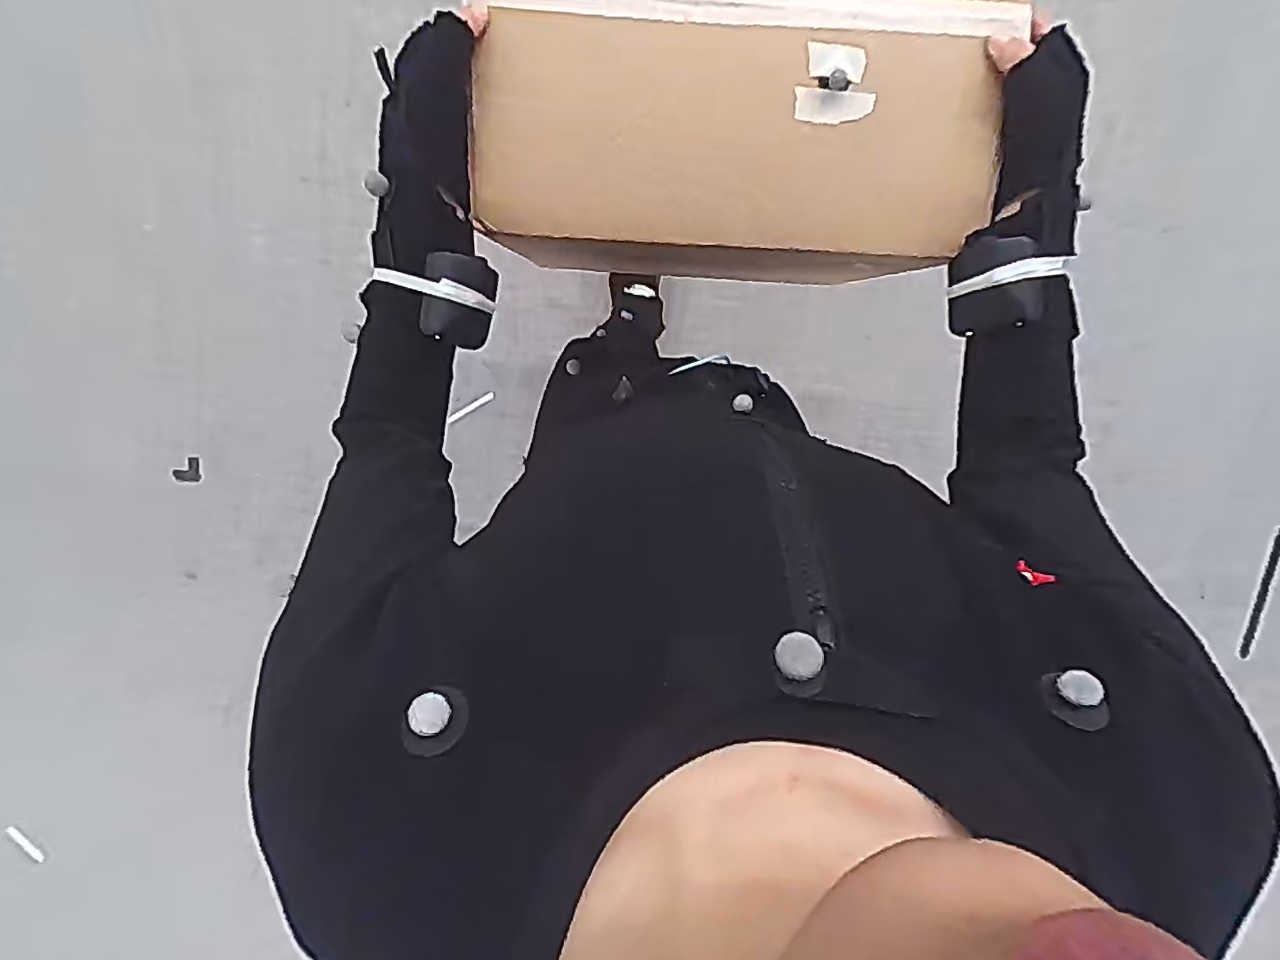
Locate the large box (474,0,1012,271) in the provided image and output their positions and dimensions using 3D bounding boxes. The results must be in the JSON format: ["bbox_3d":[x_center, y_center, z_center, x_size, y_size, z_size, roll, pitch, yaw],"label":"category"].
[{"bbox_3d":[0.071,-0.391,0.540,0.408,0.320,0.320,3,108,-2],"label":"large box"}]
